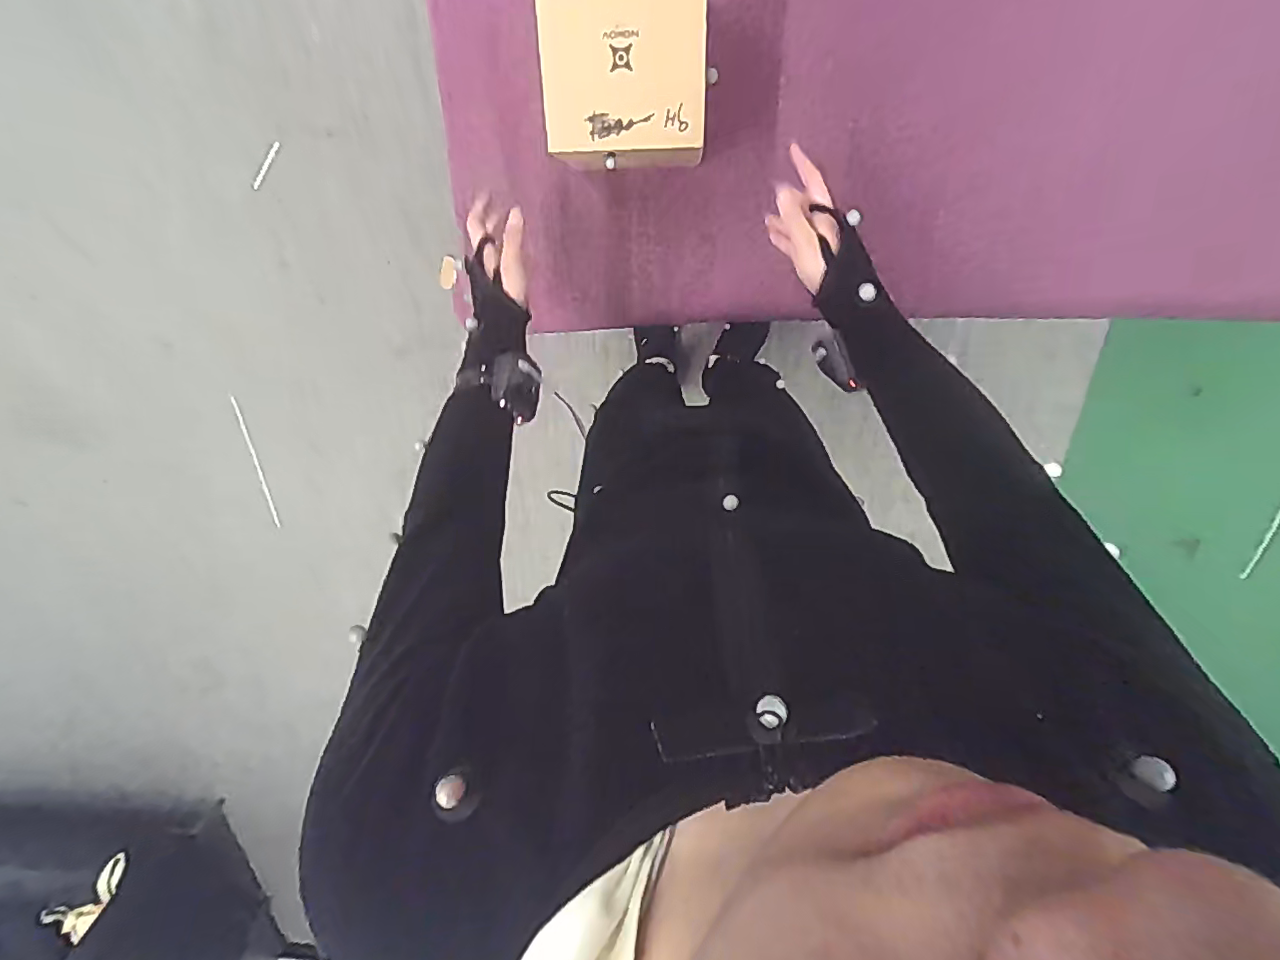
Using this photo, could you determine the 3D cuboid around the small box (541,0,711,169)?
[{"bbox_3d":[-0.010,-0.458,0.601,0.168,0.176,0.179,1,114,4],"label":"small box"}]
